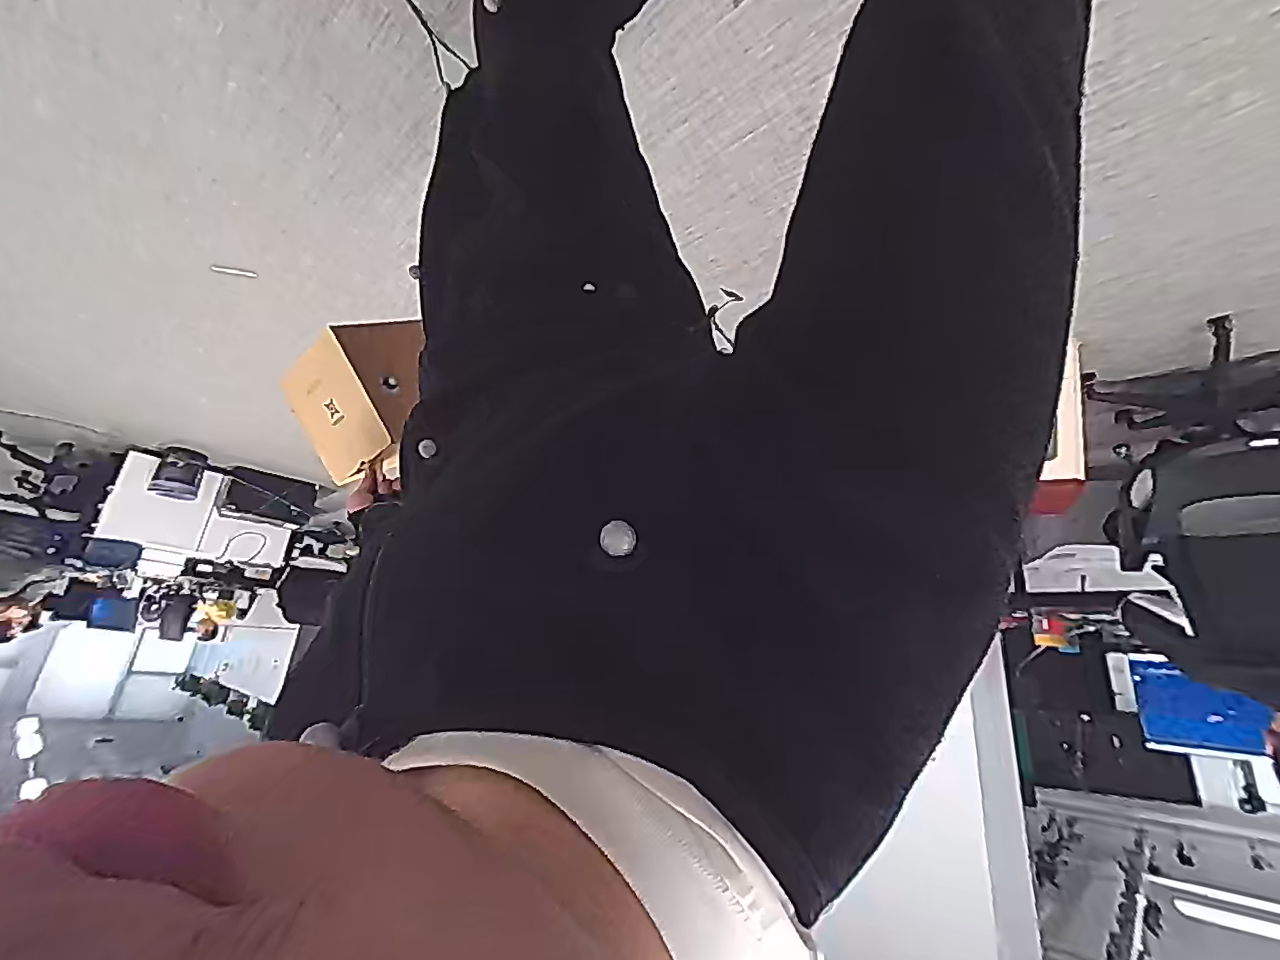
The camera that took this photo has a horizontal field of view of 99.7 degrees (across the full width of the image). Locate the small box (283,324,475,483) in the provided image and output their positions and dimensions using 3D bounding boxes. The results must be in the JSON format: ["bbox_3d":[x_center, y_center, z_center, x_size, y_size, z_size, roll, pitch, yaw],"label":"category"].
[{"bbox_3d":[-0.389,-0.122,0.828,0.168,0.179,0.176,-24,-174,32],"label":"small box"}]
